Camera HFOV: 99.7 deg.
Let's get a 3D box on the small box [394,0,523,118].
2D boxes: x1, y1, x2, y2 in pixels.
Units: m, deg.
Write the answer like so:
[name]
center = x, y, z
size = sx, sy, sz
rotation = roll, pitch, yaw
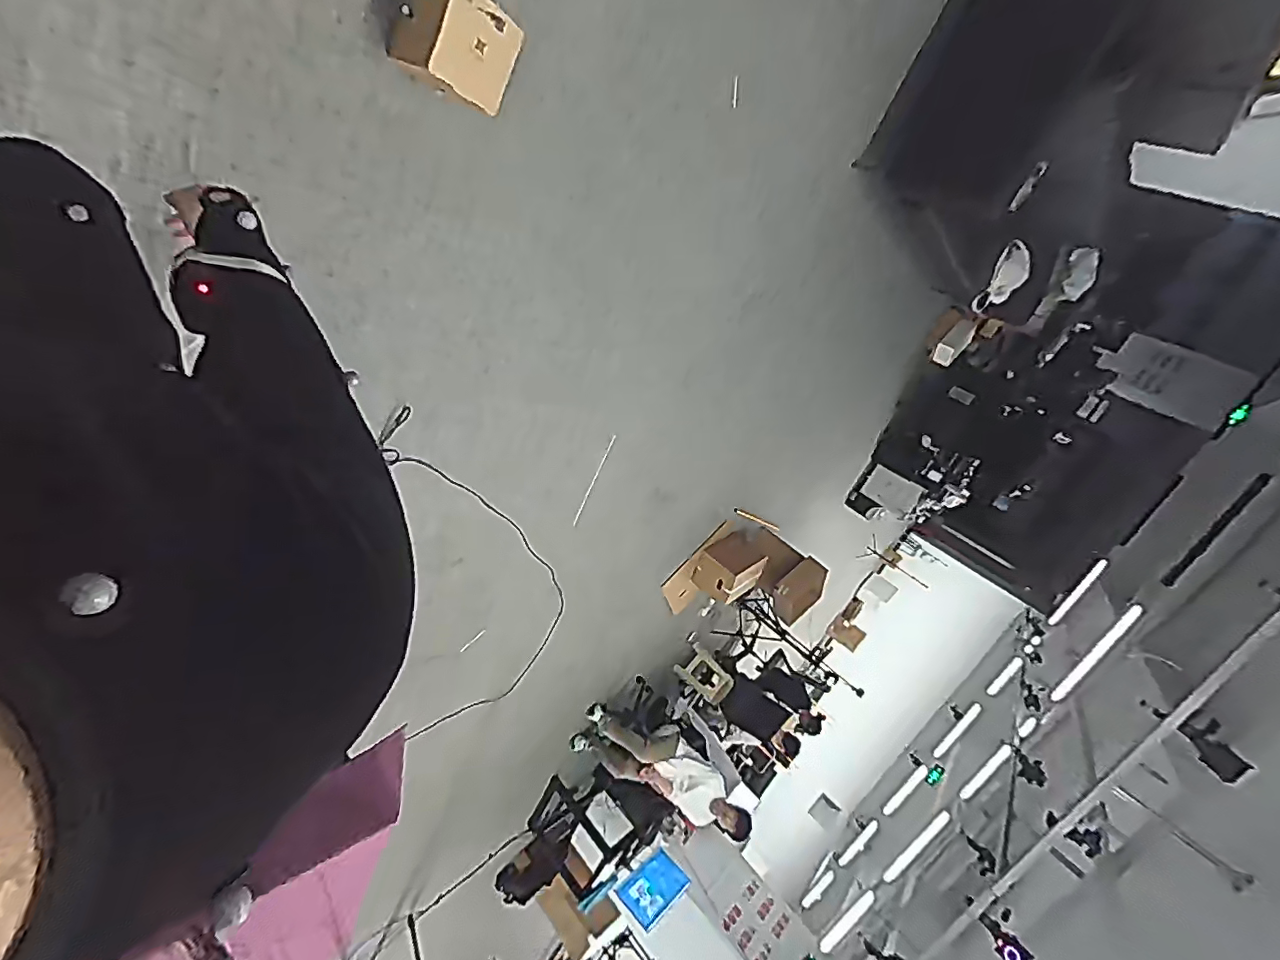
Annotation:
[small box]
center = -0.381, -0.900, 1.118
size = 0.168, 0.176, 0.179
rotation = 3, 120, -55
